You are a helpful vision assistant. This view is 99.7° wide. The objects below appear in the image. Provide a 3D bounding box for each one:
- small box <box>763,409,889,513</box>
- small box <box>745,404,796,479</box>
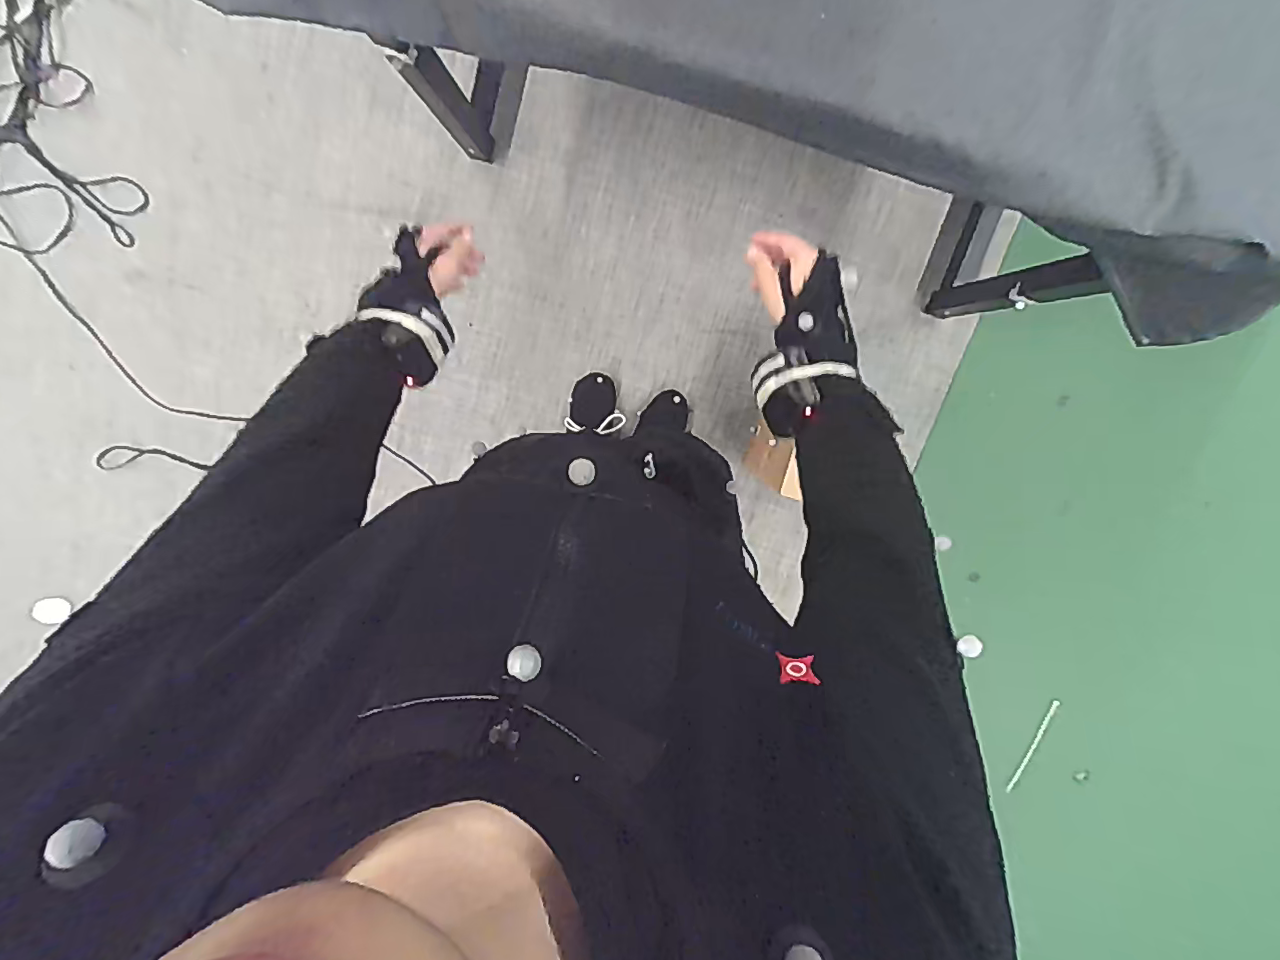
[{"bbox_3d":[0.374,-0.047,1.119,0.179,0.176,0.168,13,101,-3],"label":"small box"},{"bbox_3d":[0.365,-0.081,1.279,0.179,0.176,0.168,13,101,-3],"label":"small box"}]
